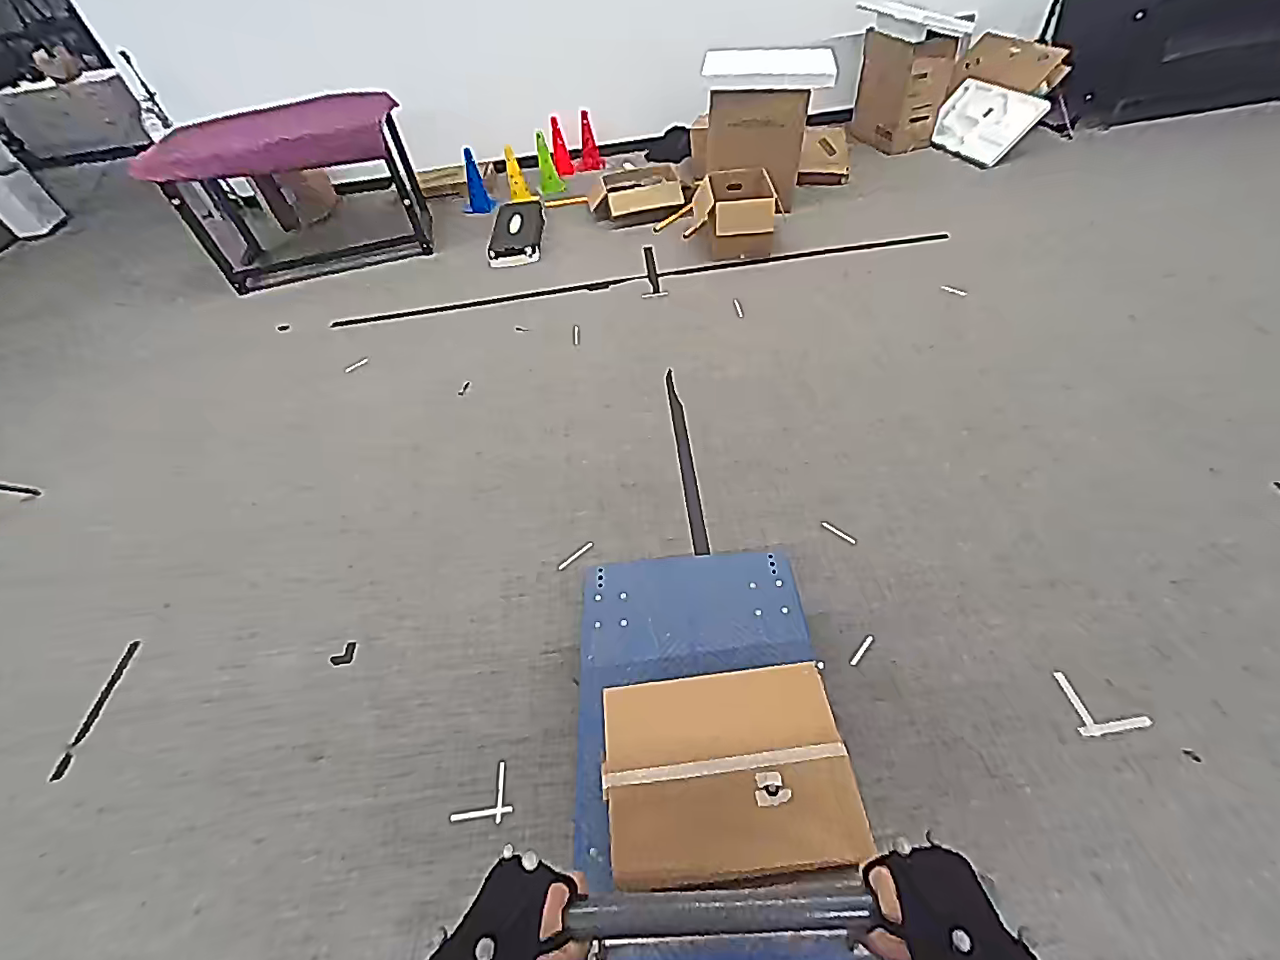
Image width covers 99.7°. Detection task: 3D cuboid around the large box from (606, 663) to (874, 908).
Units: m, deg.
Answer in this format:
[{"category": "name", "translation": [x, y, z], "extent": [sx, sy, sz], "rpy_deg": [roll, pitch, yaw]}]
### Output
[{"category": "large box", "translation": [0.160, 0.588, 1.034], "extent": [0.408, 0.320, 0.320], "rpy_deg": [-8, 49, 0]}]
